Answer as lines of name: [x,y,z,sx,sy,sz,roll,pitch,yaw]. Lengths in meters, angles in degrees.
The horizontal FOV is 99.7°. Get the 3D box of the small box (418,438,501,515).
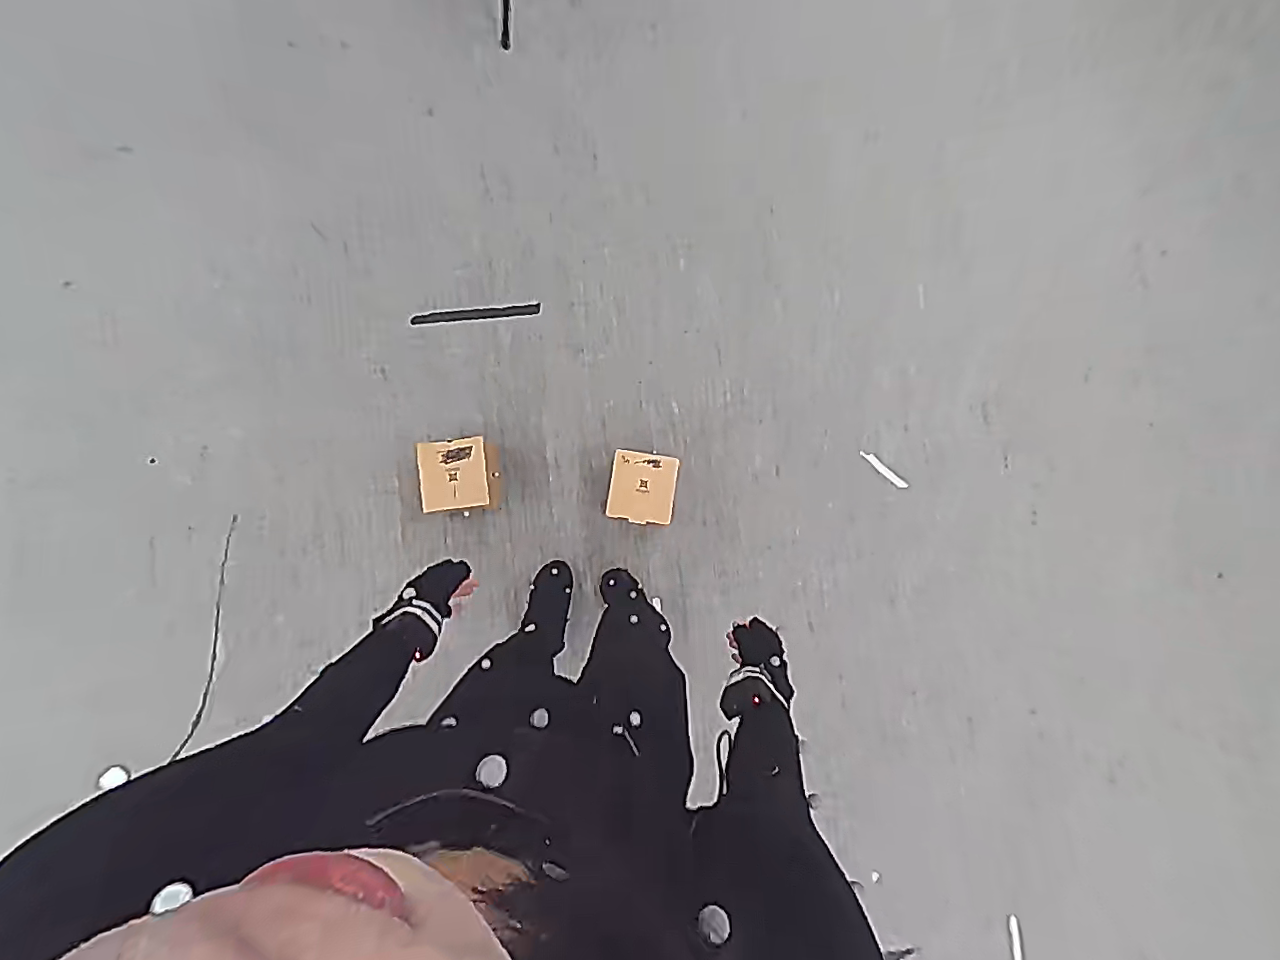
small box: [-0.465,-0.004,1.410,0.168,0.176,0.179,-6,86,-3]

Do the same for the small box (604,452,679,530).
small box: [0.002,0.032,1.433,0.168,0.176,0.179,10,85,-2]
